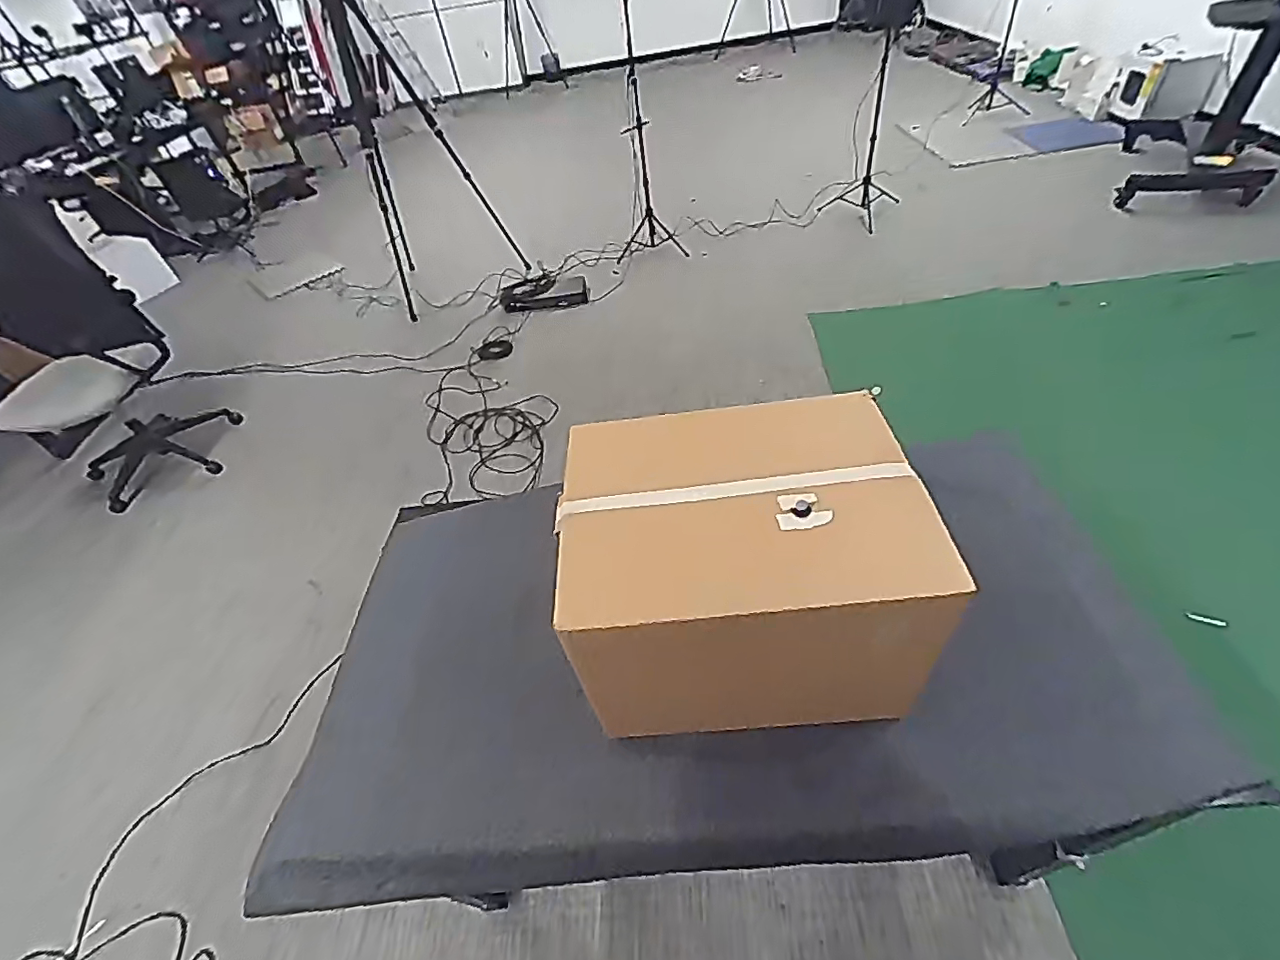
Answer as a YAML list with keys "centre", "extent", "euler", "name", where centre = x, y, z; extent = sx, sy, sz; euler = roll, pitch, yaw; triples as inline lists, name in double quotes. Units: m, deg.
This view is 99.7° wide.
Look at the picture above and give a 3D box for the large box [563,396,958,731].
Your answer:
- centre: [0.126, 0.120, 0.745]
  extent: [0.408, 0.320, 0.320]
  euler: [-6, 47, 4]
  name: "large box"
